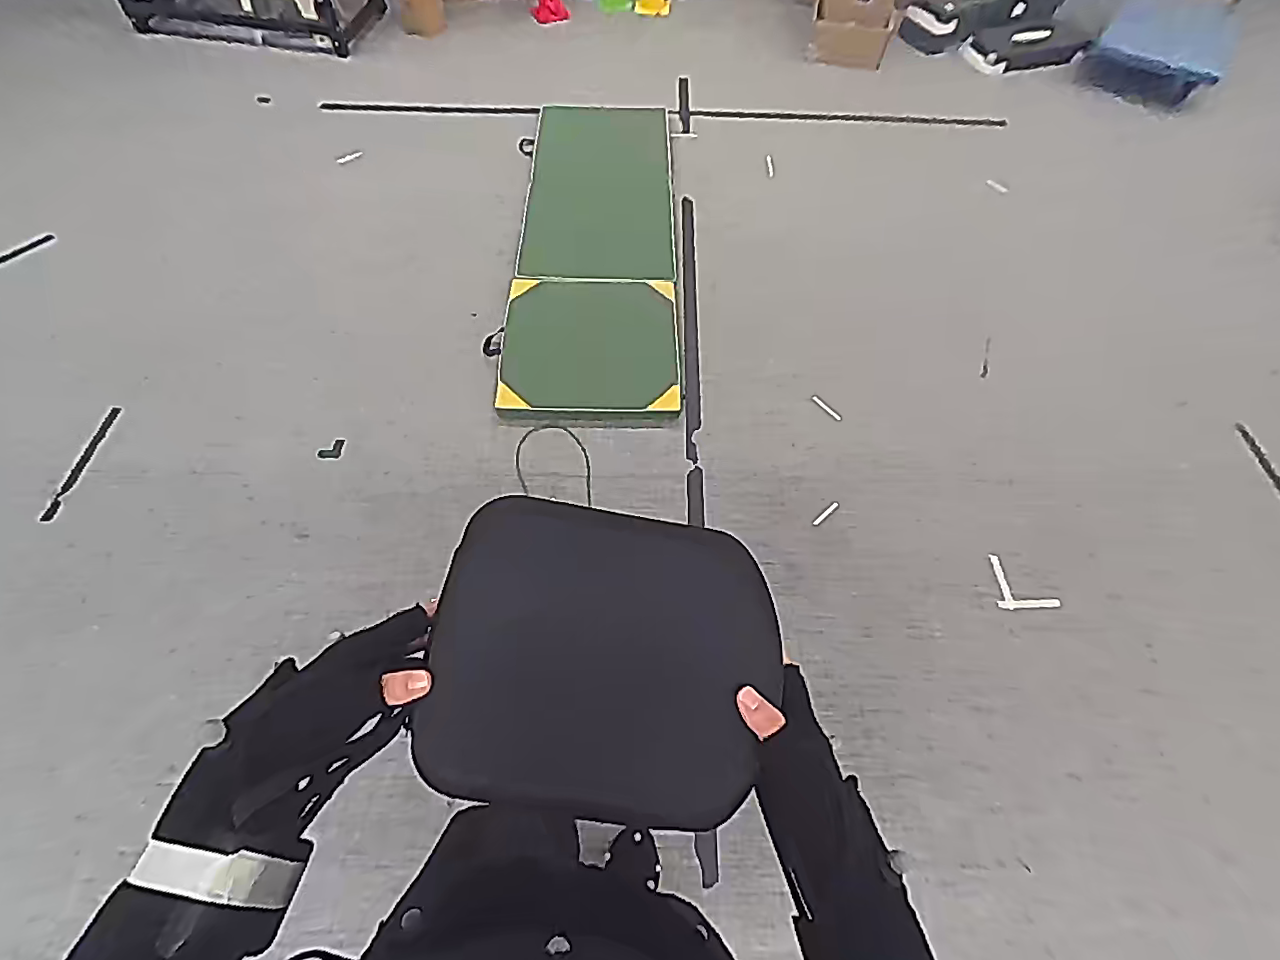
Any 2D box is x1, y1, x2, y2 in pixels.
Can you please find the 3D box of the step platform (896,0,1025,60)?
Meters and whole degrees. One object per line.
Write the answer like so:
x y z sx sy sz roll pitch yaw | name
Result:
1.813 -2.607 3.056 0.684 0.204 0.286 -25 65 -14 | step platform
